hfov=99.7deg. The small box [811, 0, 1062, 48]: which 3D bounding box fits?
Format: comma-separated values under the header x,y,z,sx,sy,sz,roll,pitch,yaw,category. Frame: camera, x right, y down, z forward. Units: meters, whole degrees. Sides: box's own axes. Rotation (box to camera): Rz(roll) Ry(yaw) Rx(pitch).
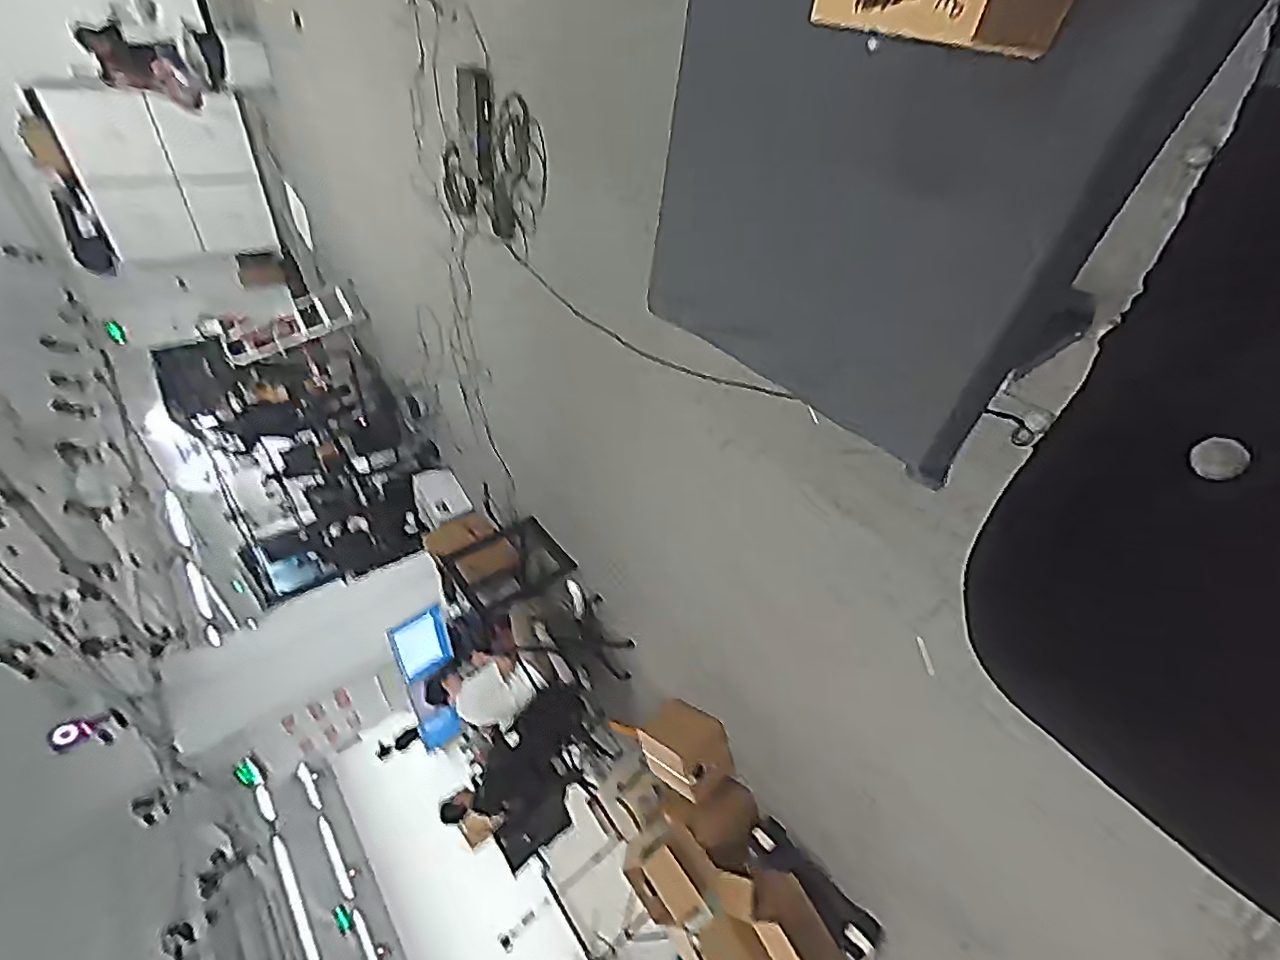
x,y,z,sx,sy,sz,roll,pitch,yaw,category
0.288,-0.502,0.470,0.168,0.176,0.179,43,143,32,small box
